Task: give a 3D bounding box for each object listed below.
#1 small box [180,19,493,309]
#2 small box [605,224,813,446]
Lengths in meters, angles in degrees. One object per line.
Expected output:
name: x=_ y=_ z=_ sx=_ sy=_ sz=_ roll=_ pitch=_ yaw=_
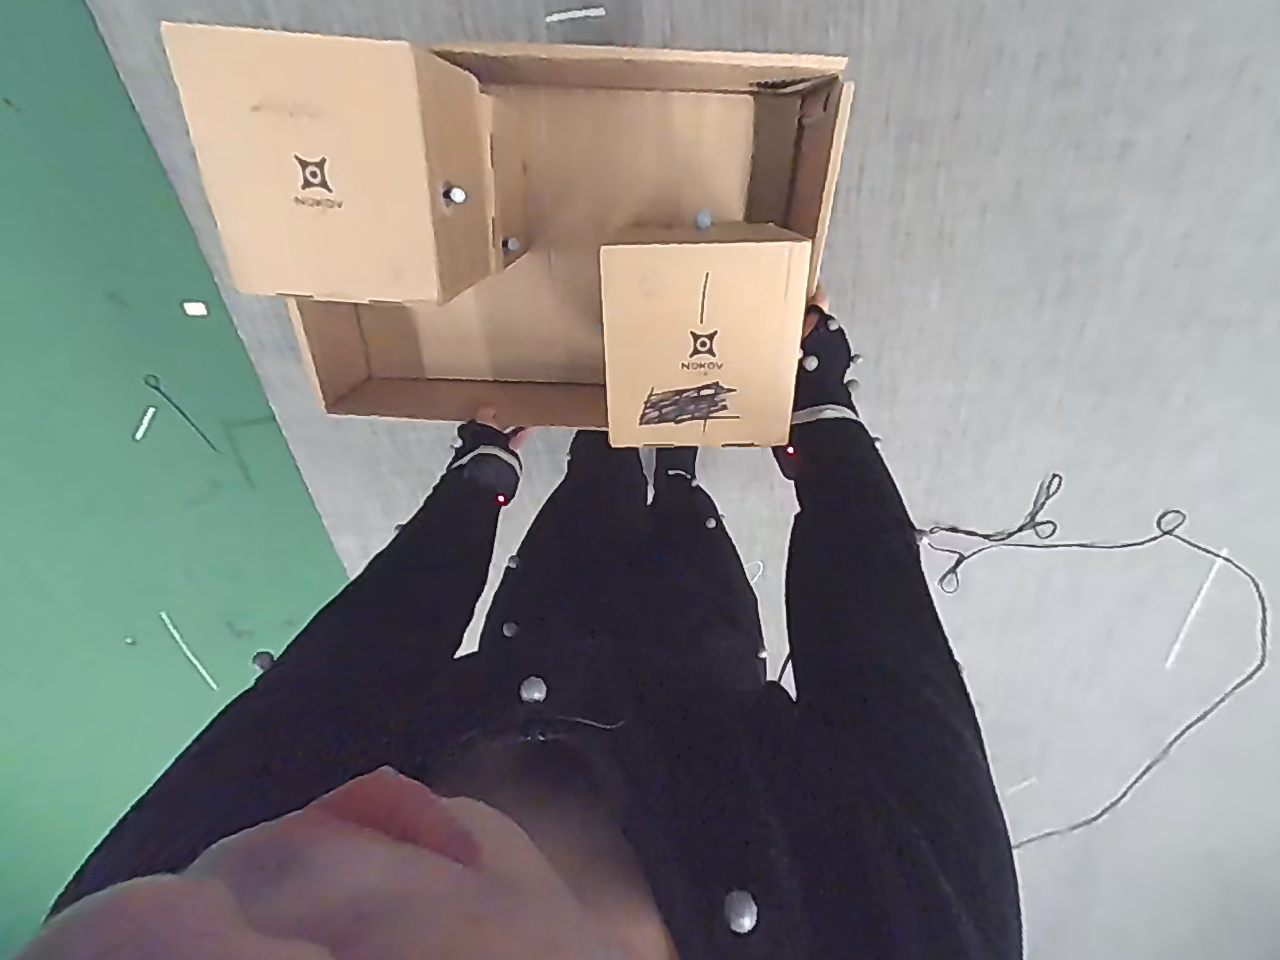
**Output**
small box: x=-0.230 y=-0.263 z=0.470 sx=0.168 sy=0.176 sz=0.179 roll=4 pitch=120 yaw=-3
small box: x=0.056 y=-0.148 z=0.531 sx=0.168 sy=0.176 sz=0.179 roll=0 pitch=119 yaw=1
